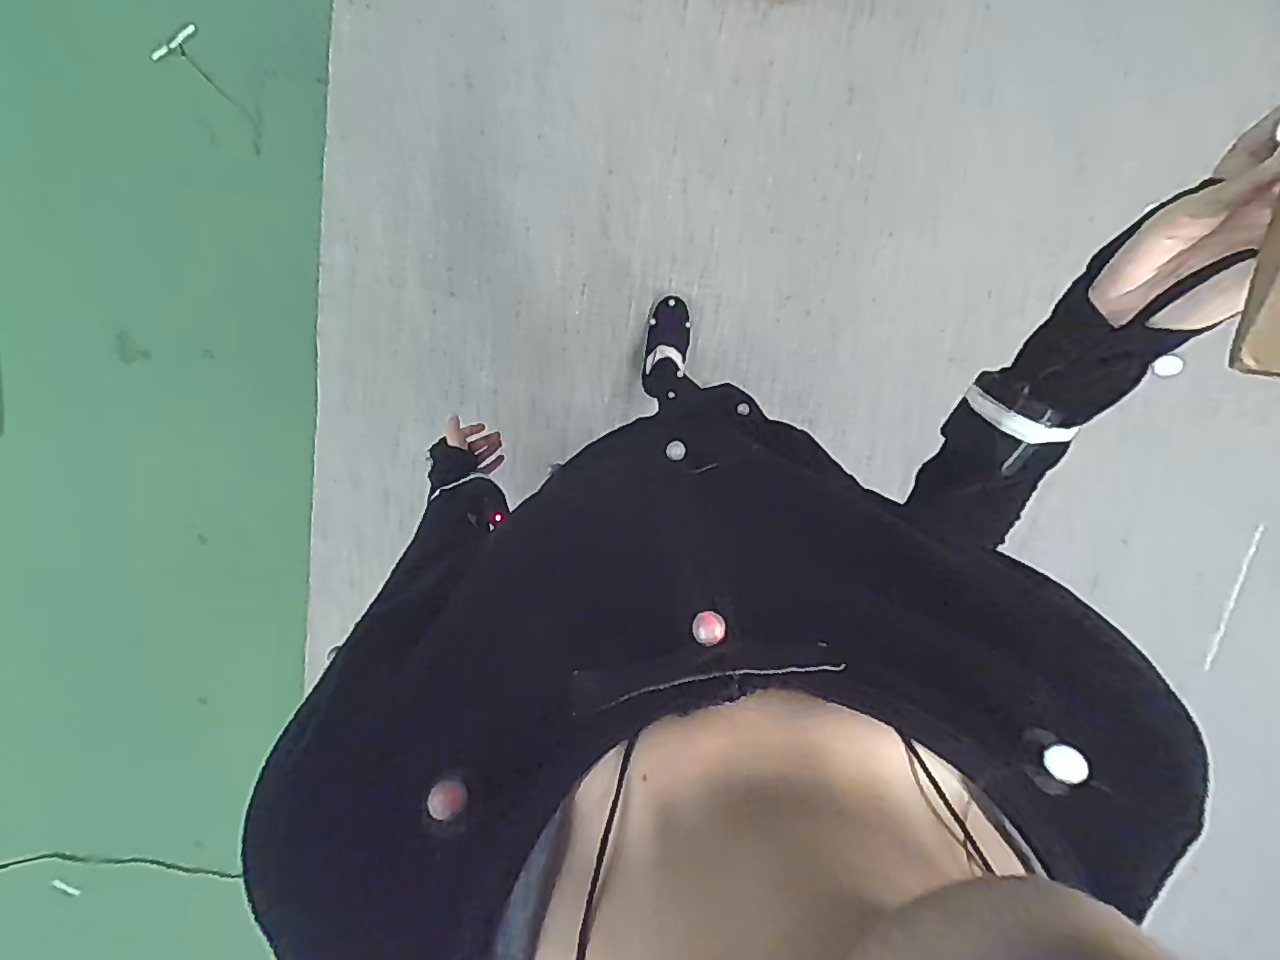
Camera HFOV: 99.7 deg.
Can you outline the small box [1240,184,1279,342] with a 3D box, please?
[{"bbox_3d":[0.328,-0.145,0.151,0.179,0.168,0.176,-42,135,-28],"label":"small box"}]
